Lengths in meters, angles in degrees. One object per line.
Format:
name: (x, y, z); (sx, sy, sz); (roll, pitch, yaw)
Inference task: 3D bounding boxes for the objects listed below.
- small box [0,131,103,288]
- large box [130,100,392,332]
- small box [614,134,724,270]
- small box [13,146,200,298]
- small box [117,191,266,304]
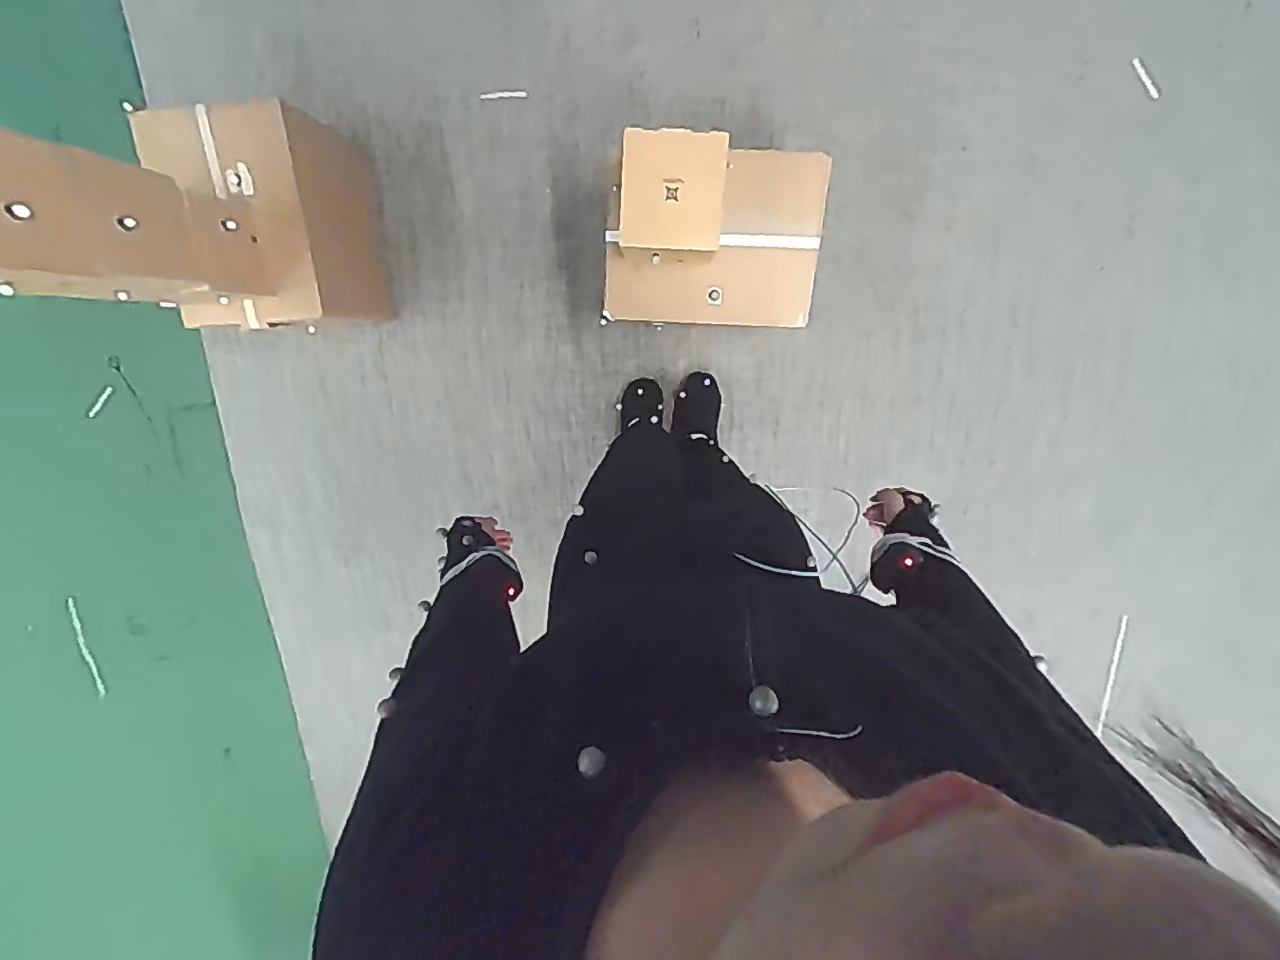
small box: (-0.855, -0.344, 0.686); (0.168, 0.176, 0.179); (-5, 105, 5)
large box: (-0.811, -0.554, 1.220); (0.320, 0.320, 0.408); (-2, 104, 4)
small box: (0.050, -0.470, 0.940); (0.168, 0.176, 0.179); (4, 103, 2)
small box: (-0.847, -0.387, 0.845); (0.168, 0.176, 0.179); (-7, 103, 5)
small box: (-0.838, -0.422, 1.005); (0.179, 0.176, 0.168); (-3, 104, 5)
